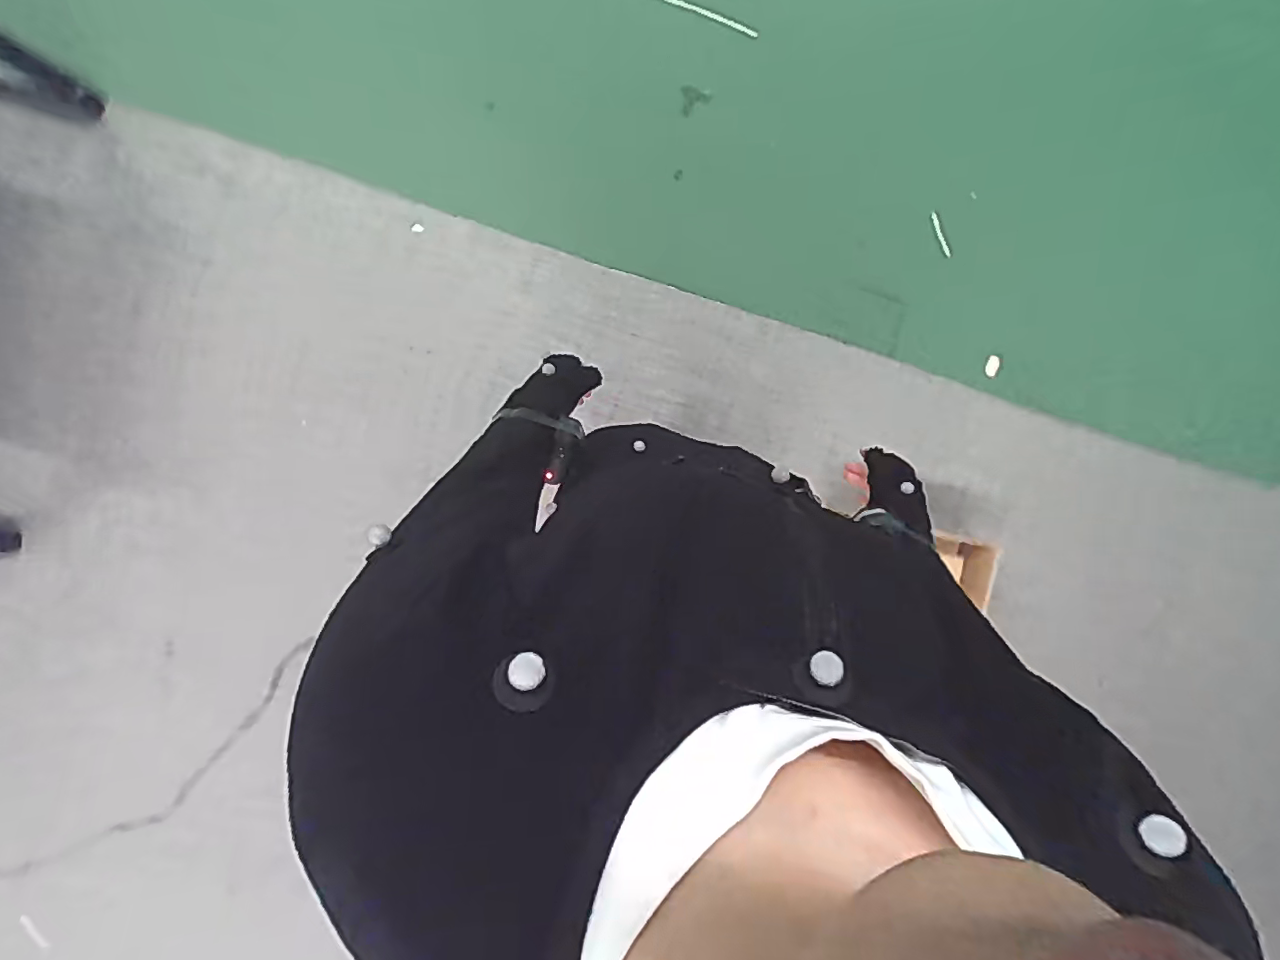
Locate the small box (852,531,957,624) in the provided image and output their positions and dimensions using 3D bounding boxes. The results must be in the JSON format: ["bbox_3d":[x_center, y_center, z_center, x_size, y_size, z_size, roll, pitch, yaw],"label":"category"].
[{"bbox_3d":[0.661,0.242,1.373,0.168,0.176,0.179,8,97,-4],"label":"small box"}]
